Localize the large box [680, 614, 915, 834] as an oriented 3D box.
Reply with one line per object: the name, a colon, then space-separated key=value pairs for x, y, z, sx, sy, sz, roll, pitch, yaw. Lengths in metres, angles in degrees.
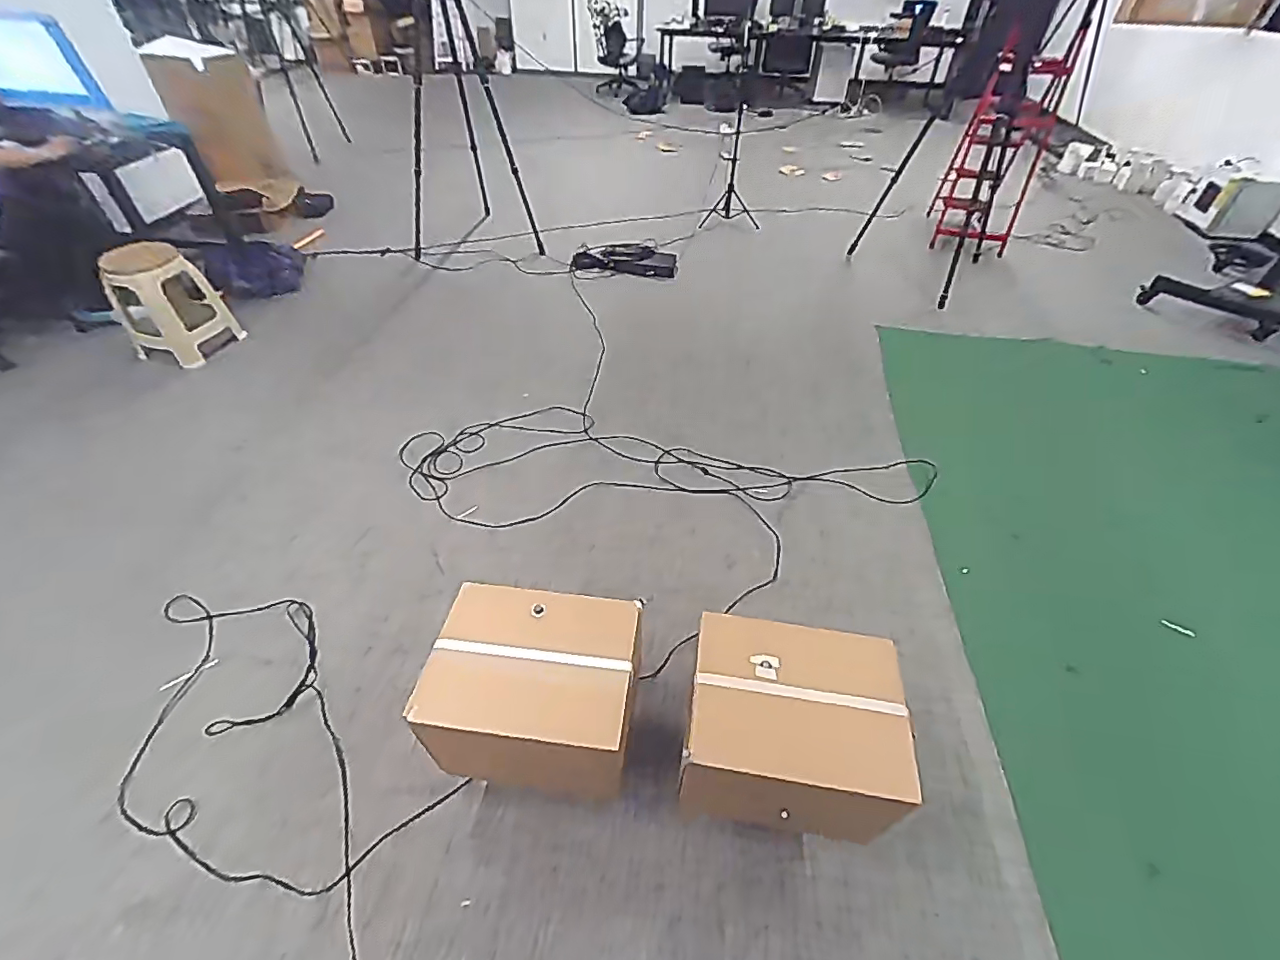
large box: x=0.308 y=0.527 z=1.167 sx=0.408 sy=0.320 sz=0.320 roll=7 pitch=45 yaw=7
